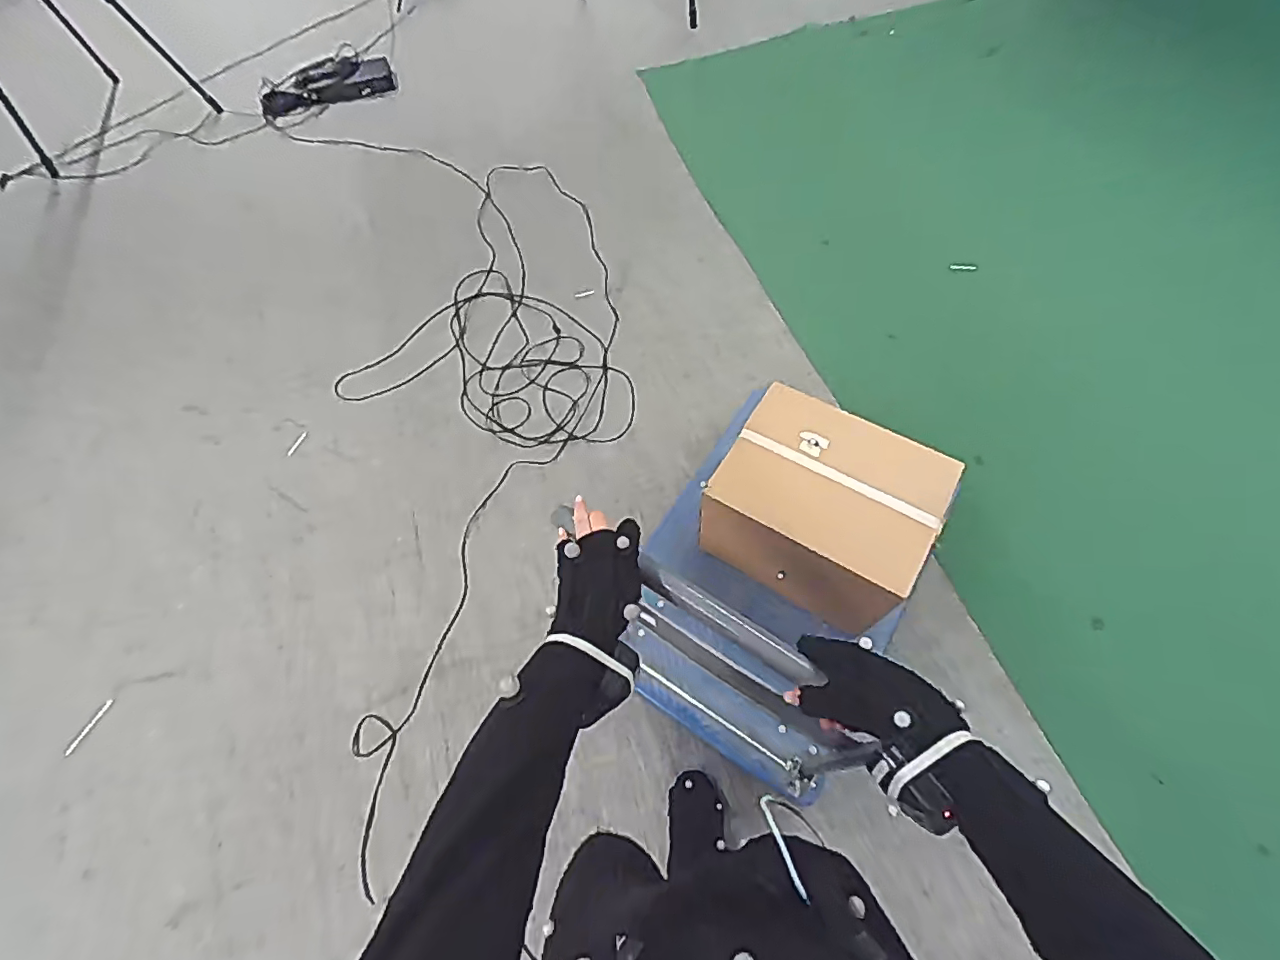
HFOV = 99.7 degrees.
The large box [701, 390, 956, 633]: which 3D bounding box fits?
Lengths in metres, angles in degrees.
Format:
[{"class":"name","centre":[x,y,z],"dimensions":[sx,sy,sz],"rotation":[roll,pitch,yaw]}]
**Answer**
[{"class":"large box","centre":[0.382,0.076,1.183],"dimensions":[0.408,0.320,0.320],"rotation":[28,67,18]}]
